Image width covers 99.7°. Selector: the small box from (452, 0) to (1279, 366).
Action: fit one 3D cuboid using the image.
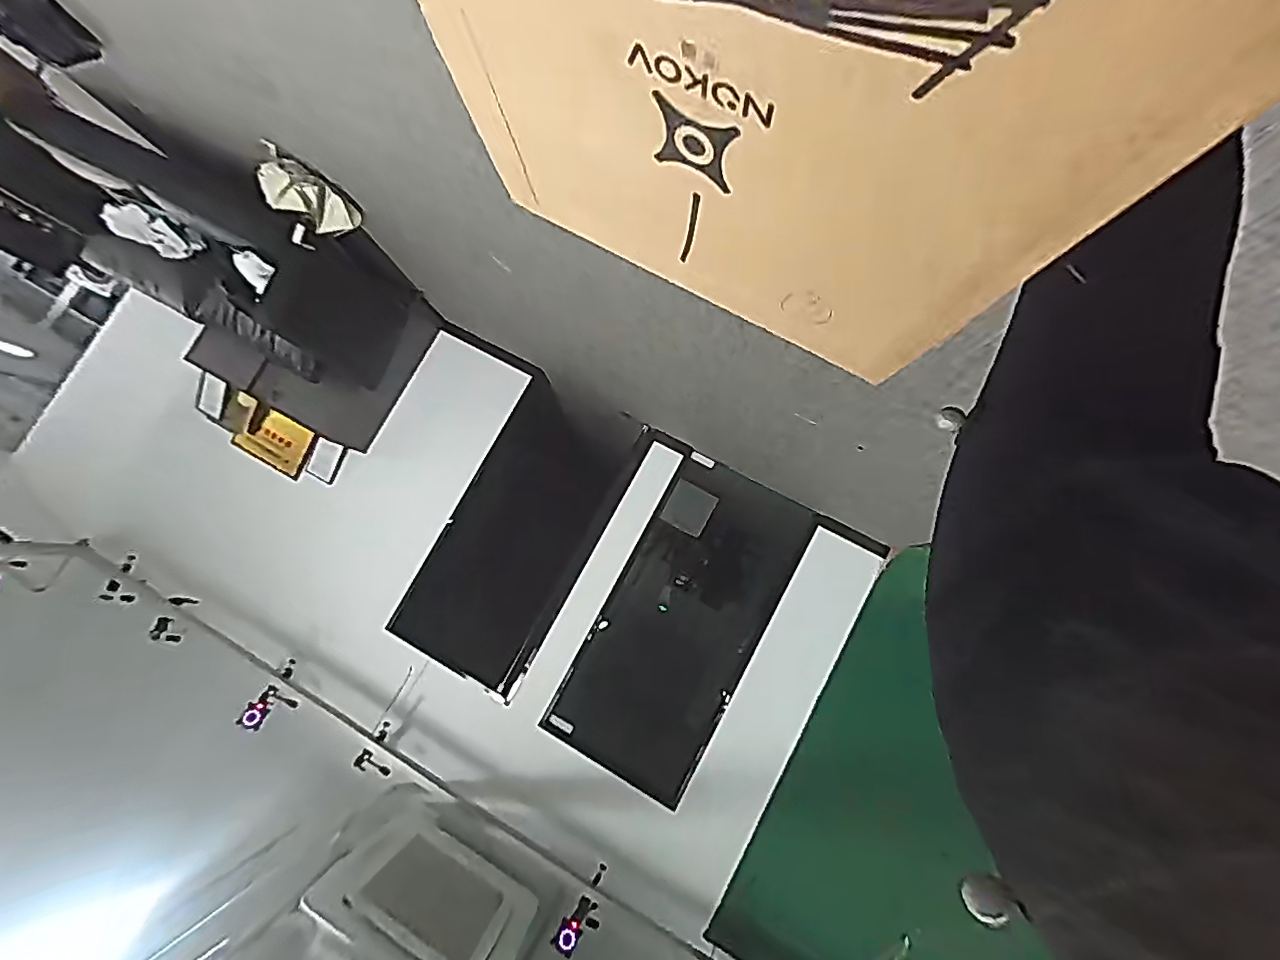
[{"bbox_3d":[0.062,-0.161,0.138,0.168,0.176,0.179,29,176,4],"label":"small box"}]
